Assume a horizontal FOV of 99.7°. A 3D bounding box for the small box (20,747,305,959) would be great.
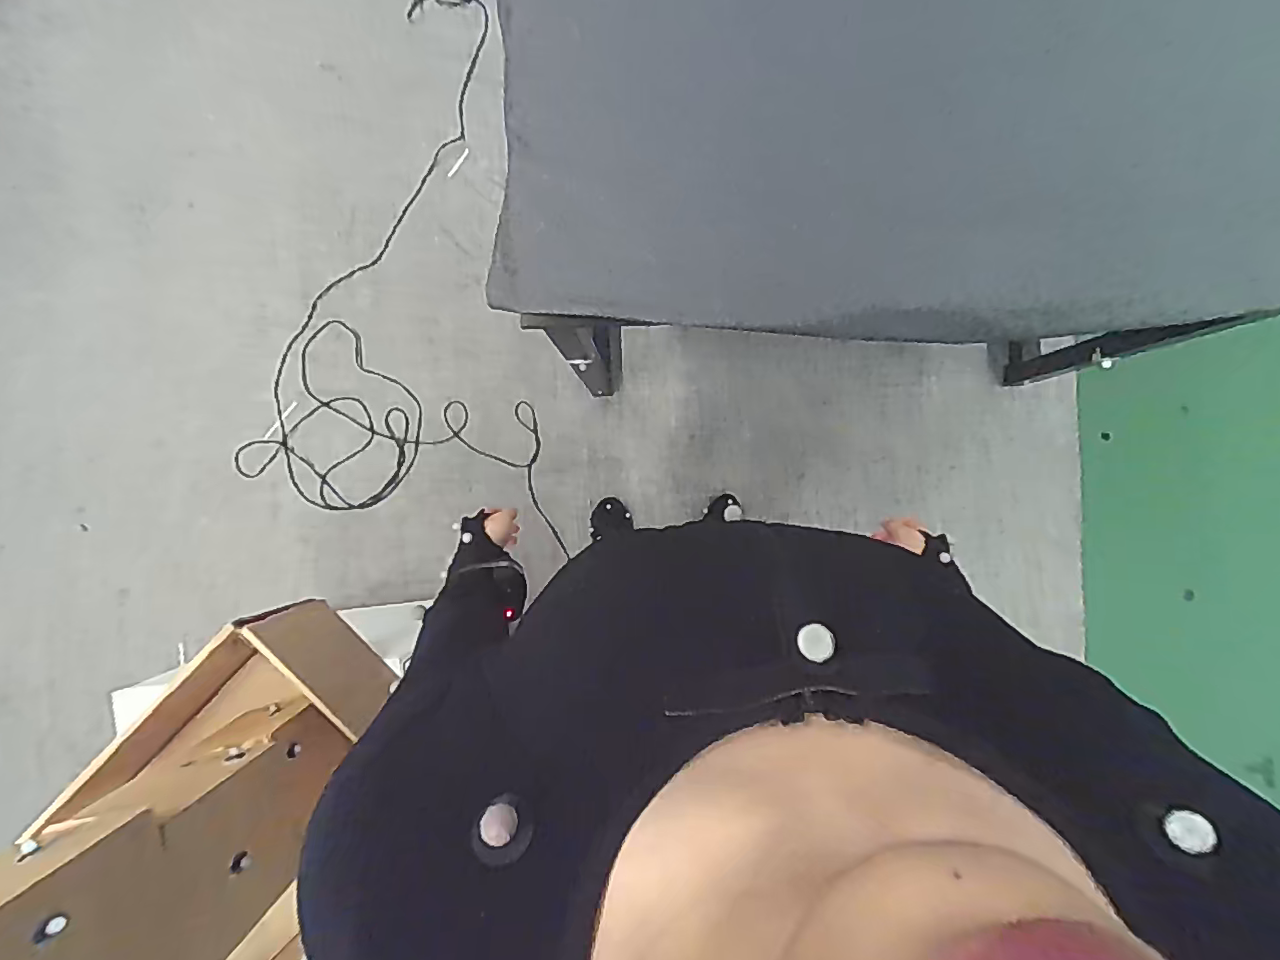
[{"bbox_3d":[-0.534,0.438,0.631,0.168,0.176,0.179,-11,93,3],"label":"small box"}]
